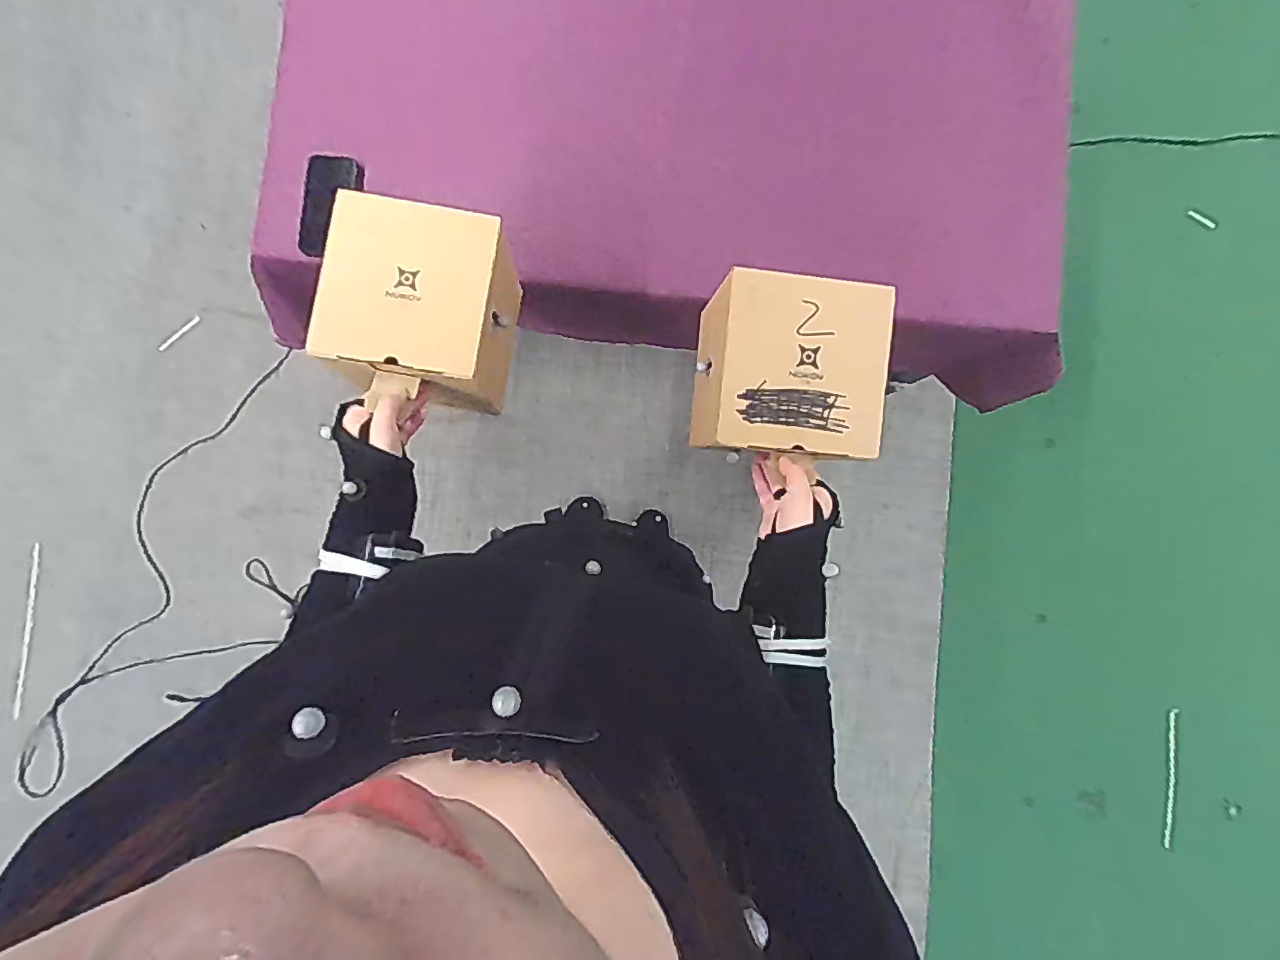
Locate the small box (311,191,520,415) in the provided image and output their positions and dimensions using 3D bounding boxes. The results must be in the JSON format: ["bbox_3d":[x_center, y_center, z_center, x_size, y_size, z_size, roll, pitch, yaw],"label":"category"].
[{"bbox_3d":[-0.238,-0.187,0.622,0.168,0.176,0.179,9,84,-5],"label":"small box"}]
